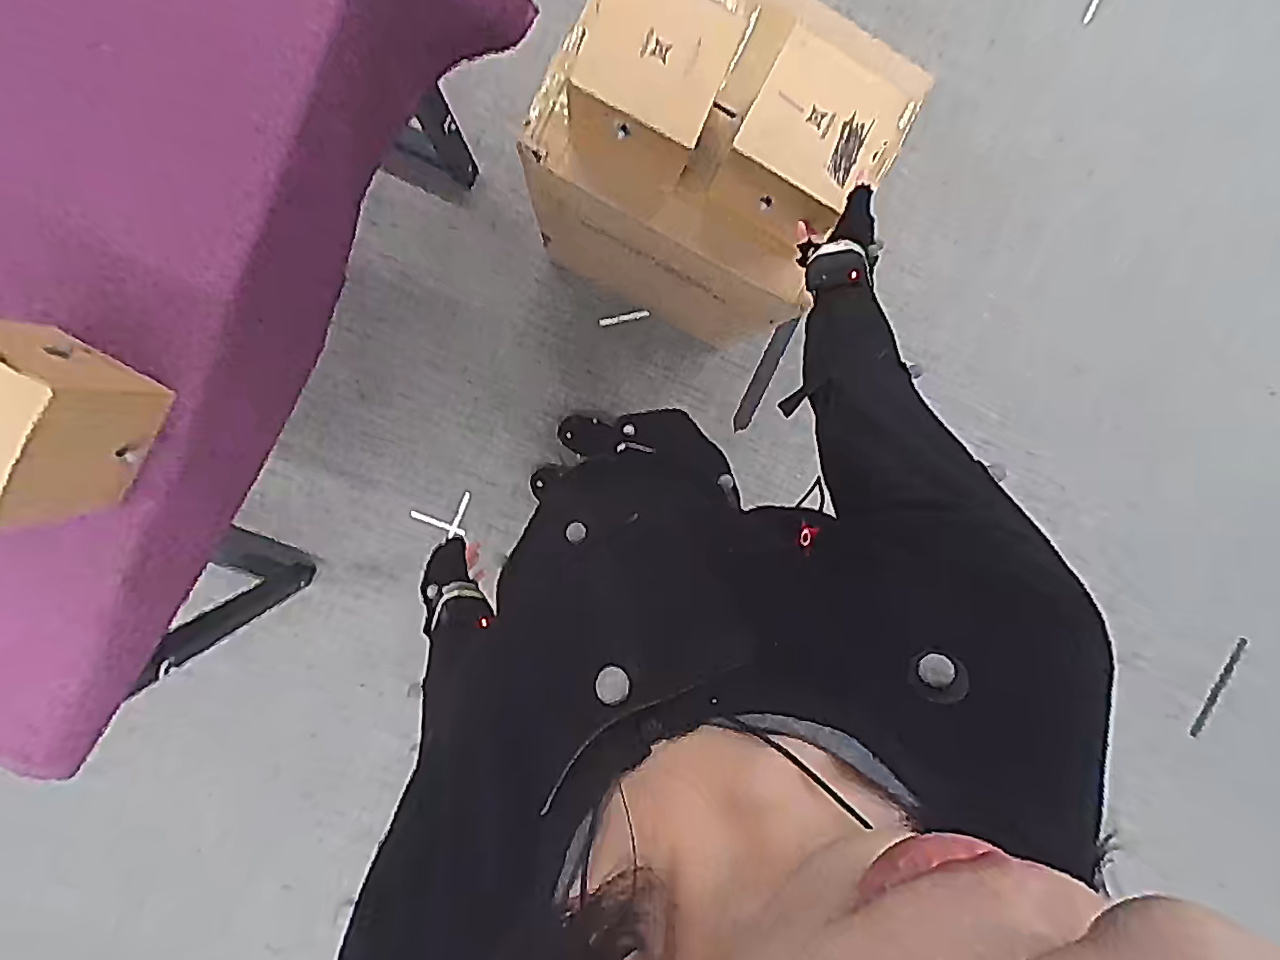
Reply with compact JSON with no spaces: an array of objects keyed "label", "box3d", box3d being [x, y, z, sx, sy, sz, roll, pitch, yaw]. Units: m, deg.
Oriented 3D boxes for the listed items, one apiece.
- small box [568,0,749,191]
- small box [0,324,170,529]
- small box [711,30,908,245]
[{"label":"small box","box3d":[0.015,-0.531,0.735,0.179,0.176,0.168,24,96,-9]},{"label":"small box","box3d":[-0.703,-0.068,0.618,0.168,0.176,0.179,30,92,-7]},{"label":"small box","box3d":[0.223,-0.457,0.762,0.179,0.176,0.168,28,94,-6]}]
